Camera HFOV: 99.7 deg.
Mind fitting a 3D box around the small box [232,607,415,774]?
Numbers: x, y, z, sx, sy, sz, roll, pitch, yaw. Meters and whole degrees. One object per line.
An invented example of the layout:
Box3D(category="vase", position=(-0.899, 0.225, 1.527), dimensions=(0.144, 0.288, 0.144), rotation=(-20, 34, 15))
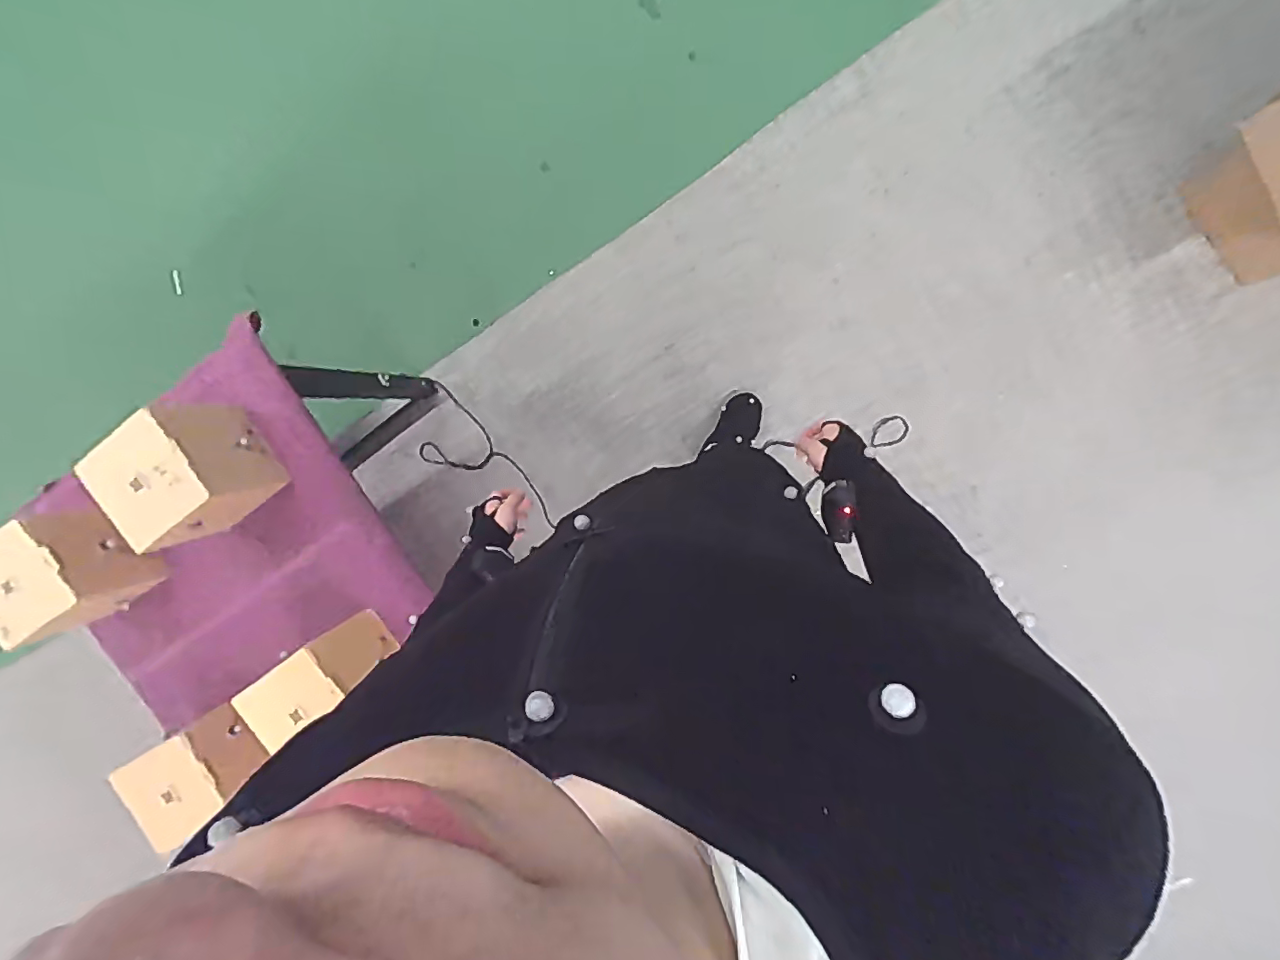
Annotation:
Box3D(category="small box", position=(-0.531, 0.352, 0.932), dimensions=(0.179, 0.176, 0.168), rotation=(-35, 93, 10))

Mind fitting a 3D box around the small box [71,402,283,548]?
Box3D(category="small box", position=(-0.754, -0.016, 0.901), dimensions=(0.179, 0.176, 0.168), rotation=(-33, 95, 11))

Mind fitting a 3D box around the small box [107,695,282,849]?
Box3D(category="small box", position=(-0.779, 0.509, 0.983), dimensions=(0.179, 0.176, 0.168), rotation=(-30, 93, 10))

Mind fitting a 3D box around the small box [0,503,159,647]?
Box3D(category="small box", position=(-1.015, 0.154, 0.956), dimensions=(0.179, 0.176, 0.168), rotation=(-32, 94, 7))
